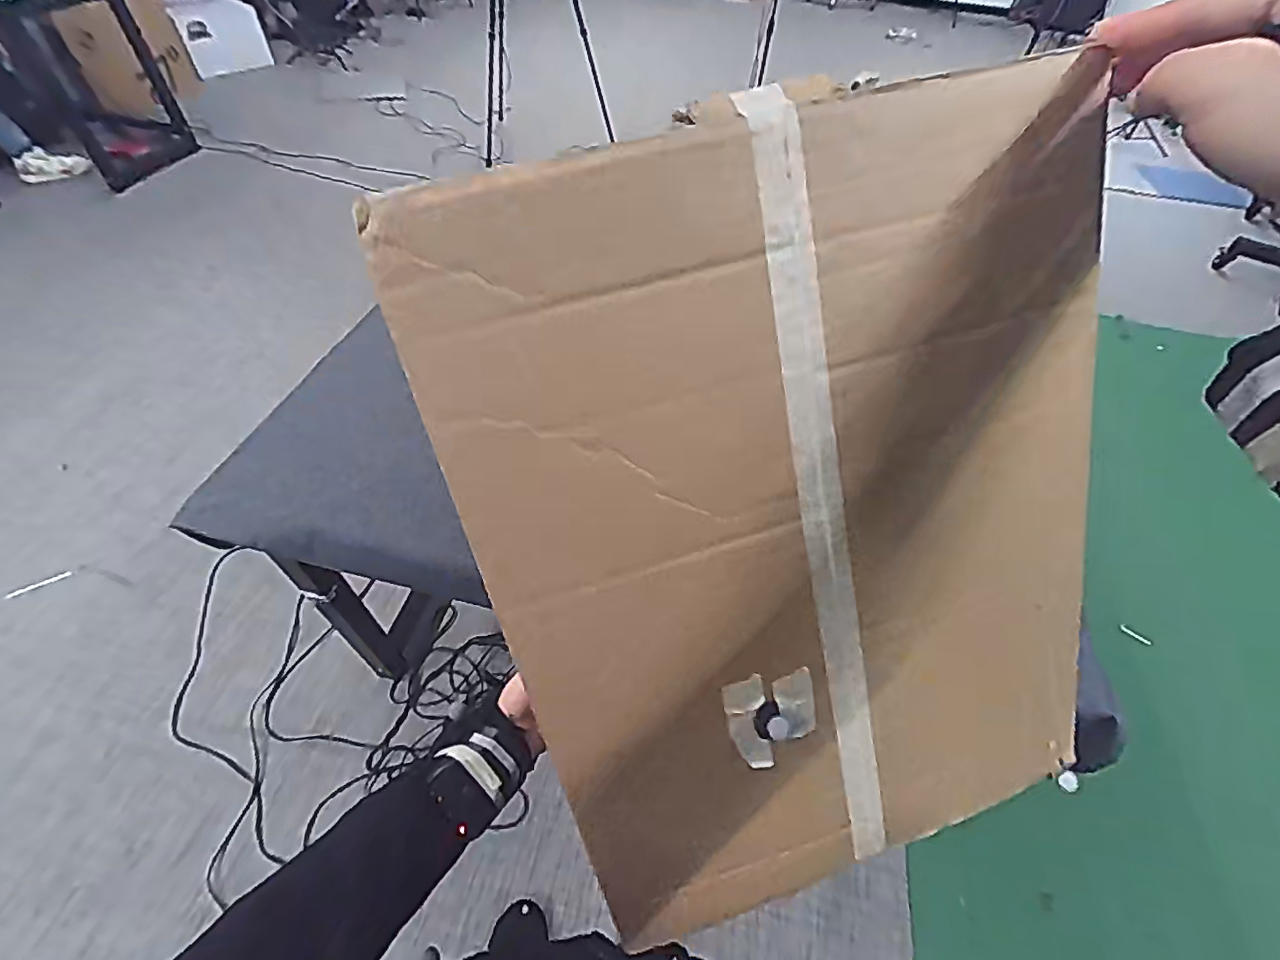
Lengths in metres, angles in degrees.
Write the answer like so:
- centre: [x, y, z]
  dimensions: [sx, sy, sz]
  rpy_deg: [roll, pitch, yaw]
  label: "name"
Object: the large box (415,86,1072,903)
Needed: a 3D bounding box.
- centre: [0.066, -0.002, 0.430]
  dimensions: [0.320, 0.408, 0.320]
  rpy_deg: [-18, 21, -8]
  label: "large box"
